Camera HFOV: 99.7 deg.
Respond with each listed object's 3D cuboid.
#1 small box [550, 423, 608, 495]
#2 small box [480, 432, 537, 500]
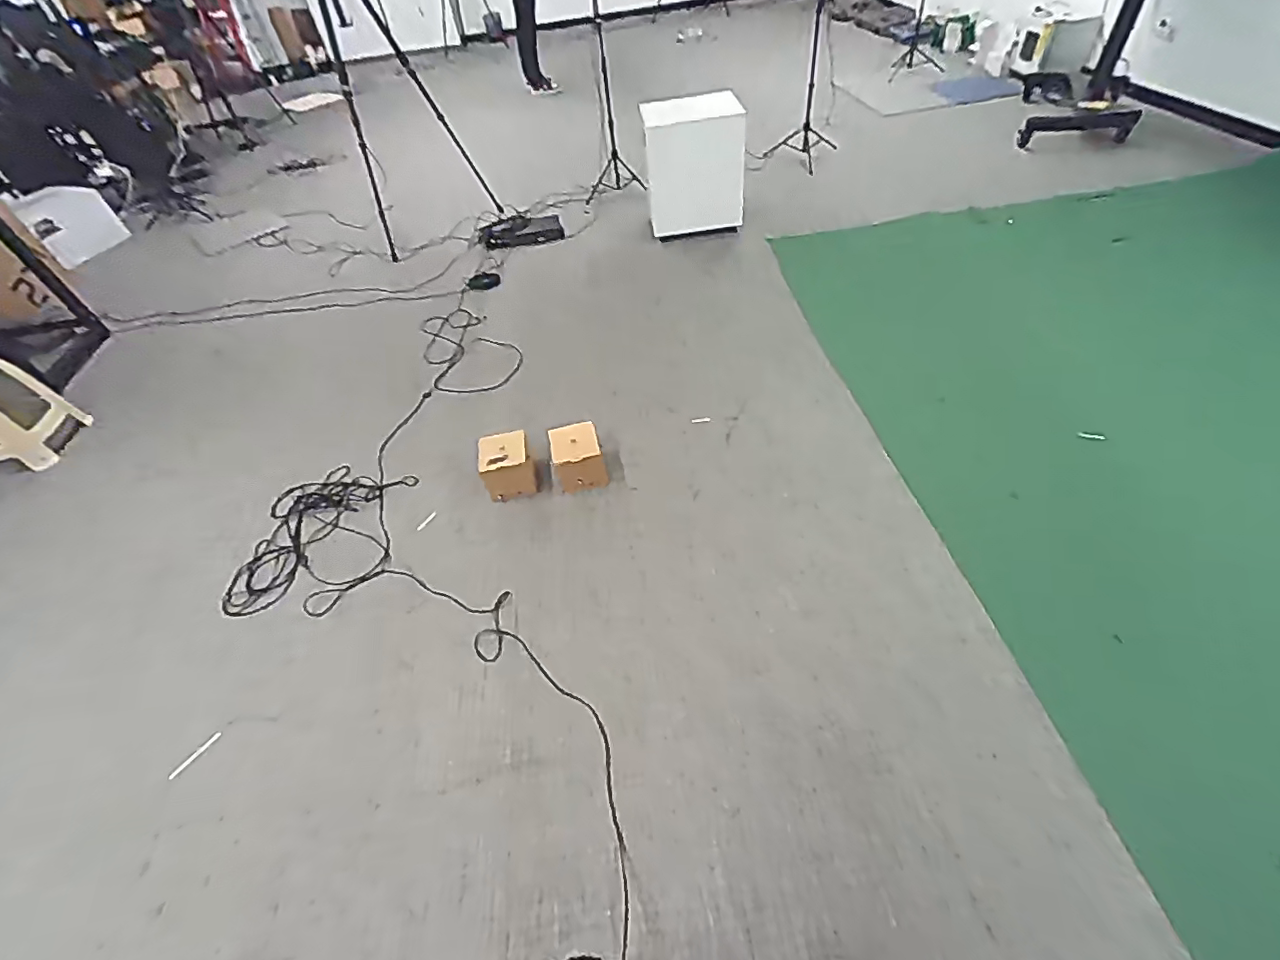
[{"bbox_3d":[-0.220,-0.073,1.954,0.168,0.176,0.179,-14,50,-4],"label":"small box"},{"bbox_3d":[-0.473,-0.045,1.961,0.168,0.176,0.179,-11,48,-3],"label":"small box"}]
